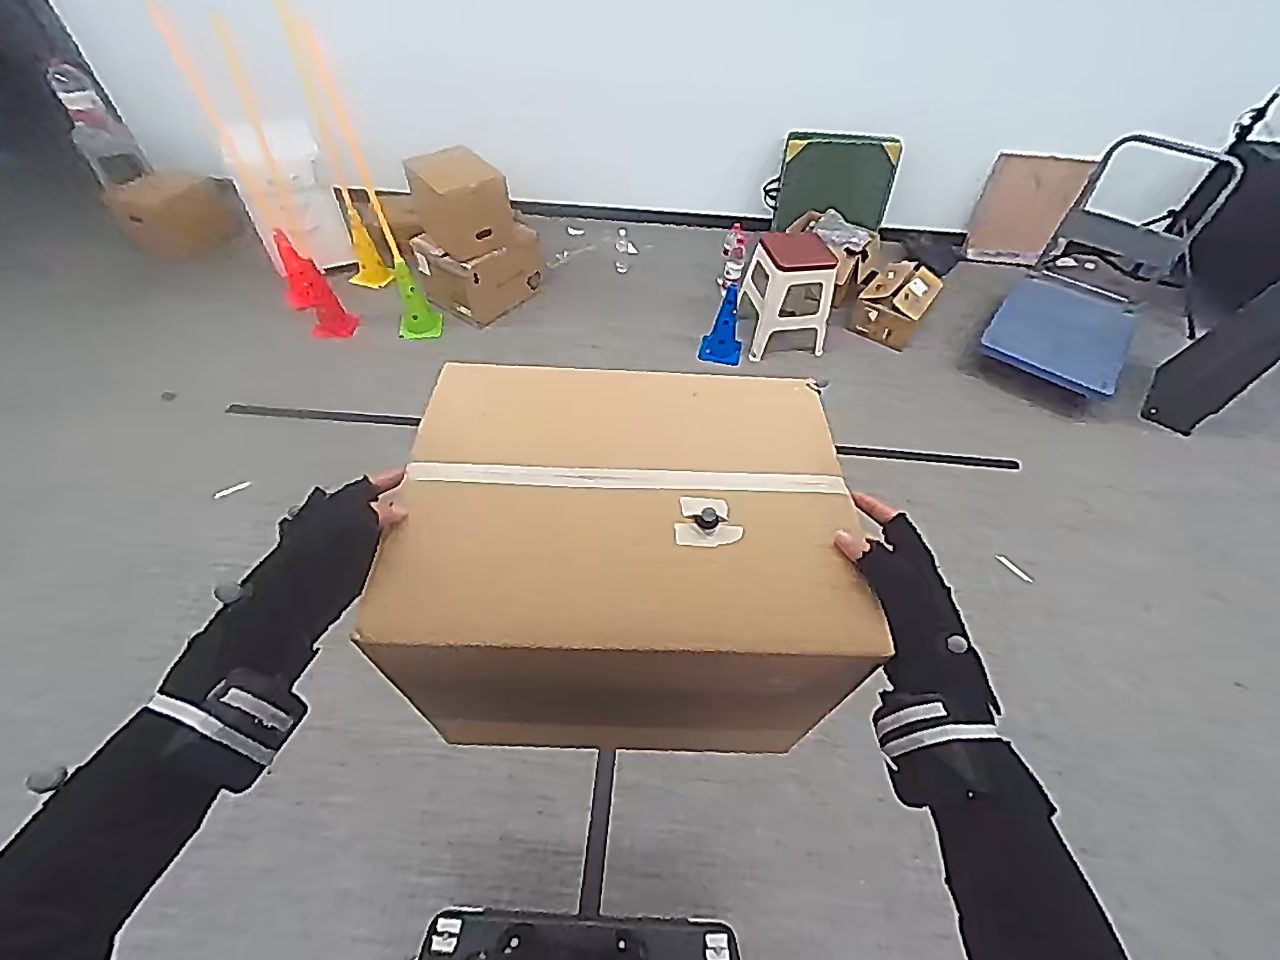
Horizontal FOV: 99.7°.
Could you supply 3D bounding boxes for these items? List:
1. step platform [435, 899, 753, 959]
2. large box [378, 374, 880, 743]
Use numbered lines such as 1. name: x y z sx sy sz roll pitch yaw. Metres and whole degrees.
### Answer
1. step platform: -0.096 1.080 1.143 0.684 0.204 0.286 4 51 -1
2. large box: -0.015 0.102 0.627 0.408 0.320 0.320 3 52 -2
